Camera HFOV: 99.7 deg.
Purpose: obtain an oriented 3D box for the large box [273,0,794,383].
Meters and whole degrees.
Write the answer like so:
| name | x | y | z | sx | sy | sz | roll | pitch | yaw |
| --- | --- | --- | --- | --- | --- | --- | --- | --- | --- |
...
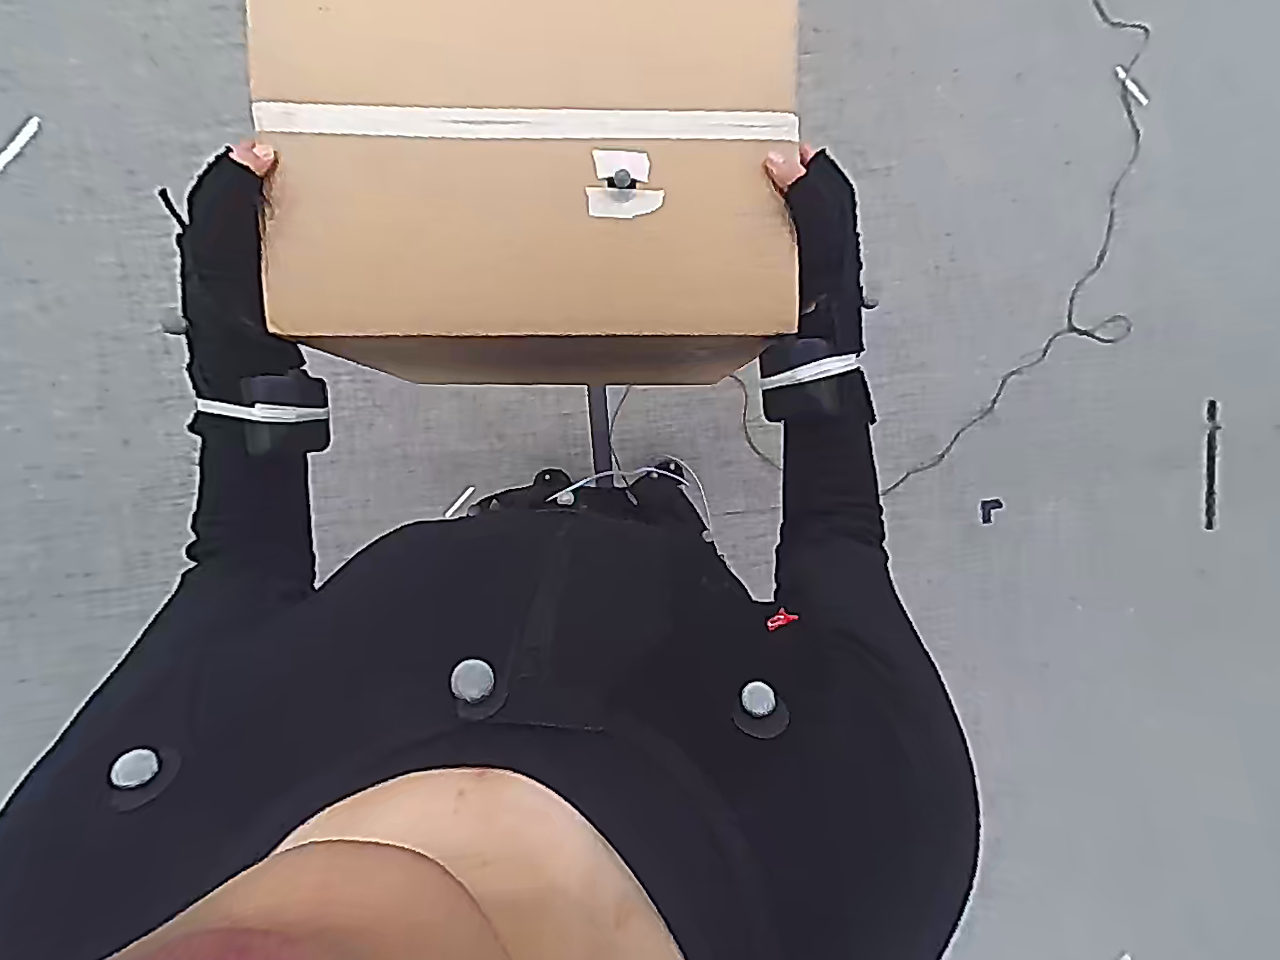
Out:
| name | x | y | z | sx | sy | sz | roll | pitch | yaw |
| --- | --- | --- | --- | --- | --- | --- | --- | --- | --- |
| large box | -0.086 | -0.278 | 0.568 | 0.408 | 0.320 | 0.320 | -1 | 94 | -4 |
